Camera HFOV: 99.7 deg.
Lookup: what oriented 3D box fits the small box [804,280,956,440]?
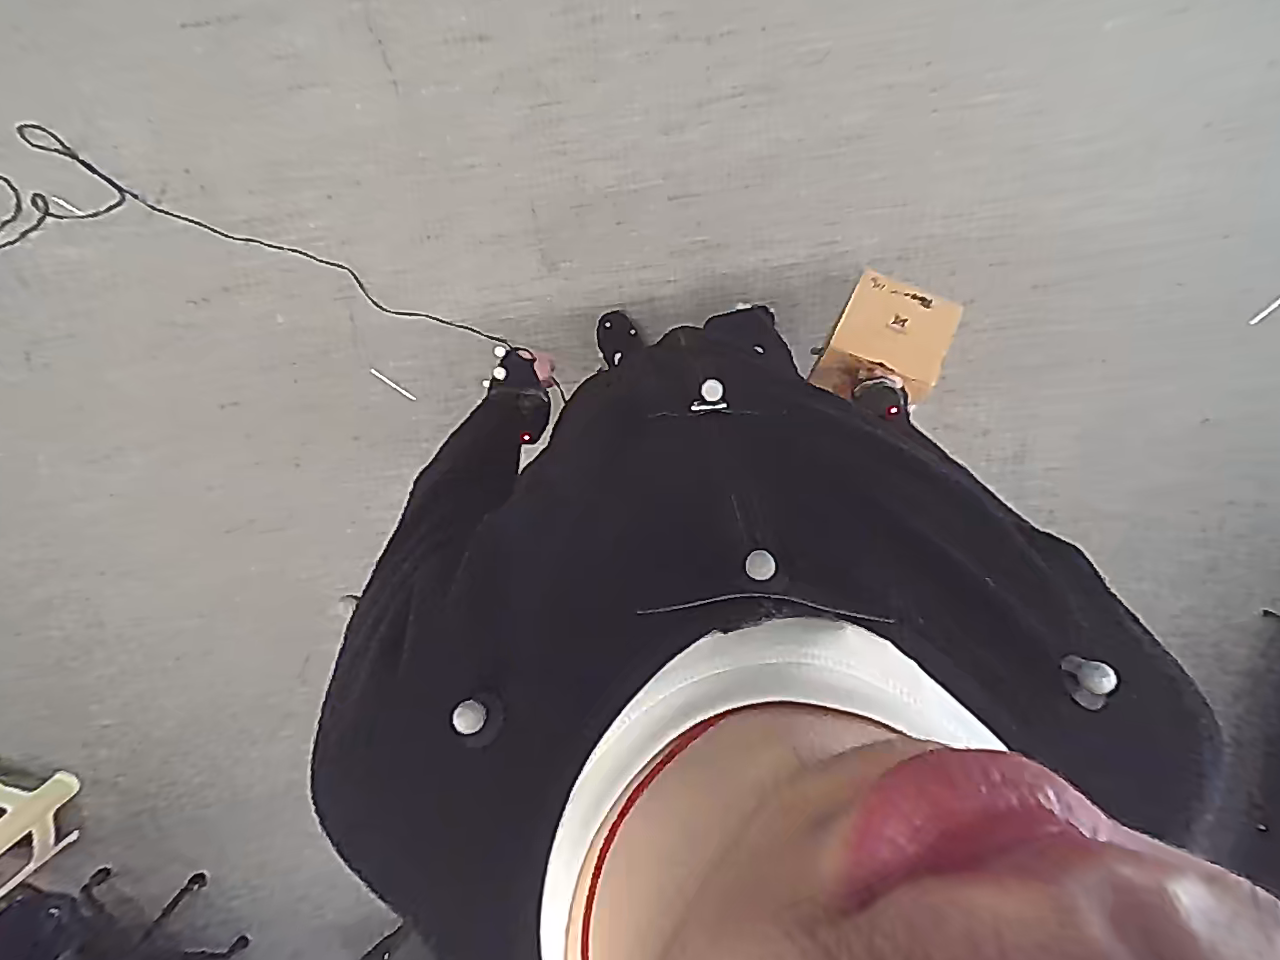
[{"bbox_3d":[0.395,-0.195,0.917,0.168,0.176,0.179,24,67,10],"label":"small box"}]
